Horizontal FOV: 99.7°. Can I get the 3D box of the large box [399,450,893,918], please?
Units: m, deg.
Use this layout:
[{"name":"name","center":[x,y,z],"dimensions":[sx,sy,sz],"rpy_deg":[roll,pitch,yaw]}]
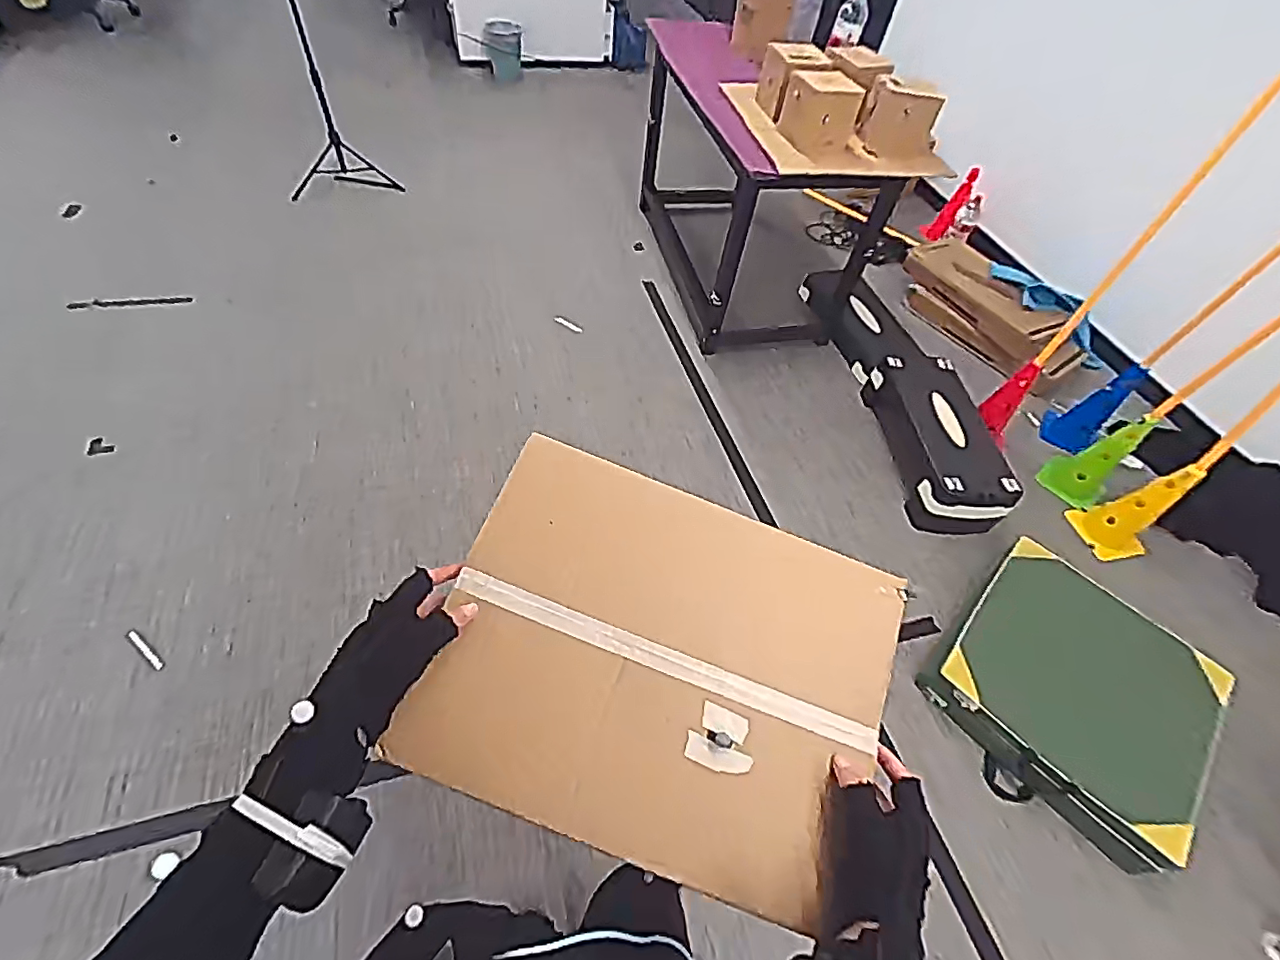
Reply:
[{"name":"large box","center":[0.009,0.217,0.649],"dimensions":[0.408,0.320,0.320],"rpy_deg":[22,71,1]}]
